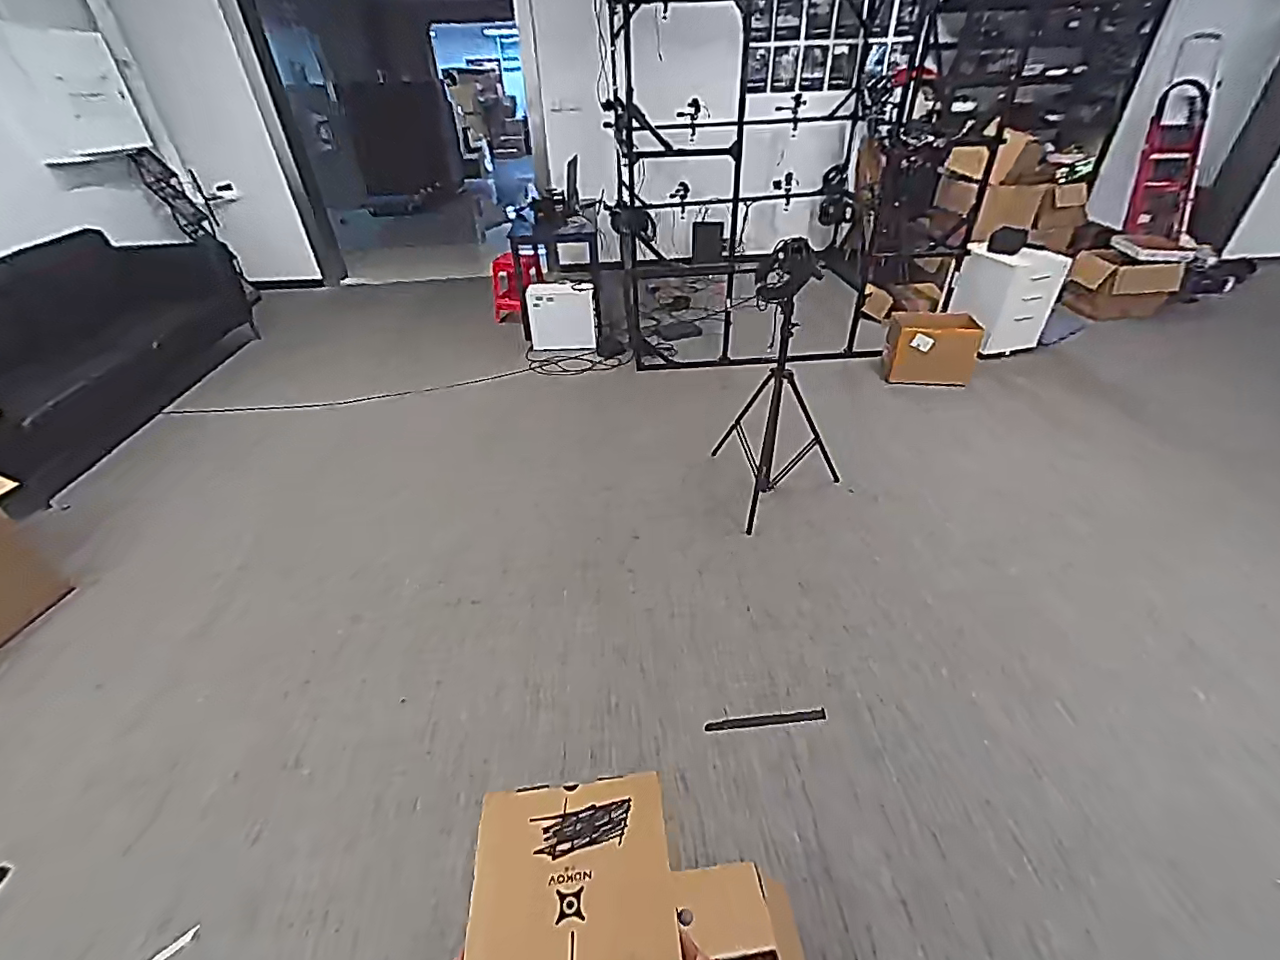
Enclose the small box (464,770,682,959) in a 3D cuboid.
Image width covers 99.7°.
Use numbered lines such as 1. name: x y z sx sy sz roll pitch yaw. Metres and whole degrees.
1. small box: -0.052 0.399 0.488 0.168 0.176 0.179 -6 36 -3
